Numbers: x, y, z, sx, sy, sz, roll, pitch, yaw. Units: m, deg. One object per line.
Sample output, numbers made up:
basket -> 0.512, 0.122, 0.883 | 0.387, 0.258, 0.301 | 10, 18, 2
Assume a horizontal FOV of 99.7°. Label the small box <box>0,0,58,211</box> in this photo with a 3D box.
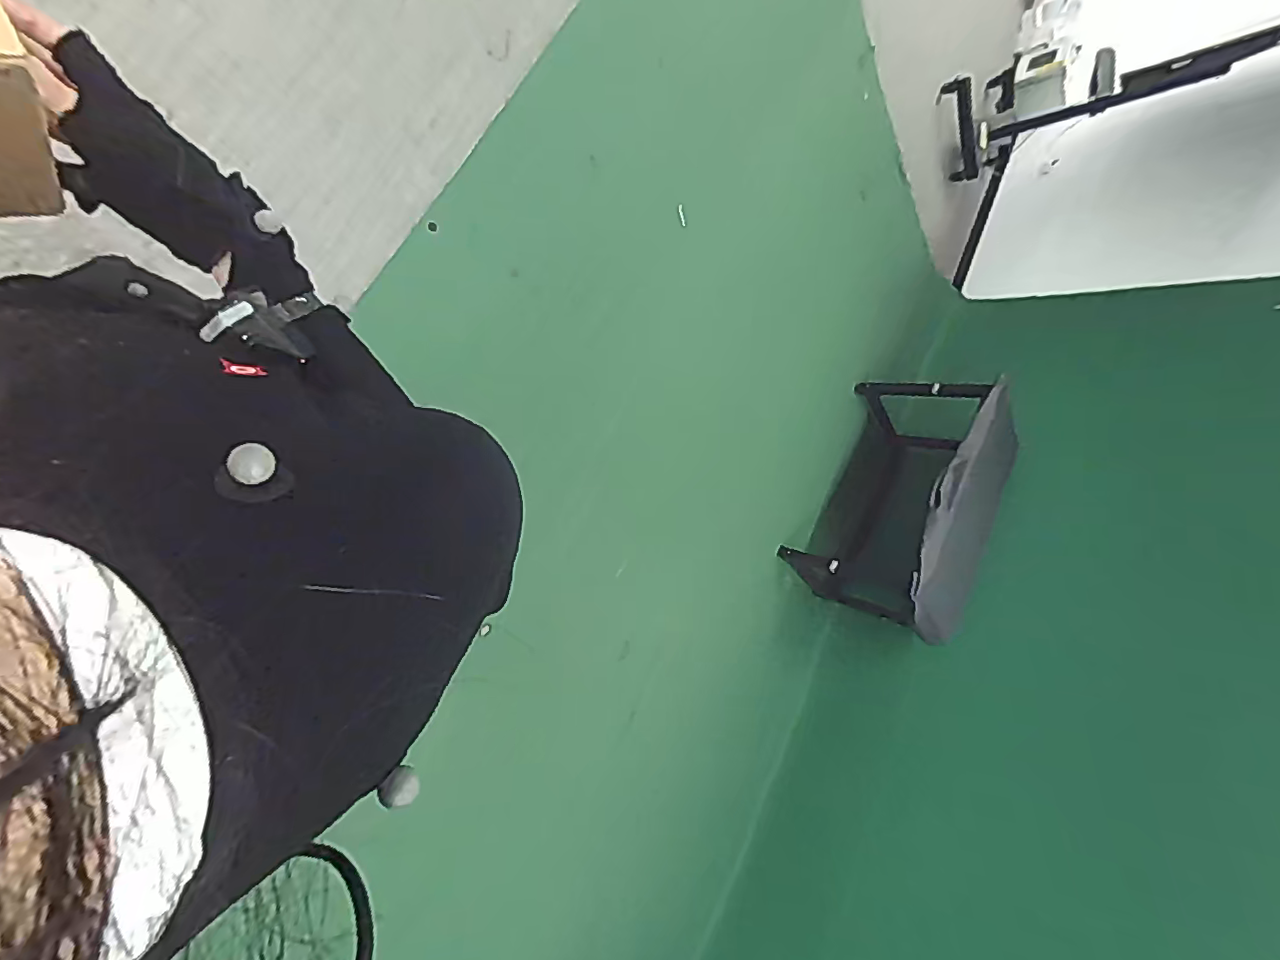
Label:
small box -> -0.424, -0.245, 0.246 | 0.168, 0.176, 0.179 | -31, 108, -41
